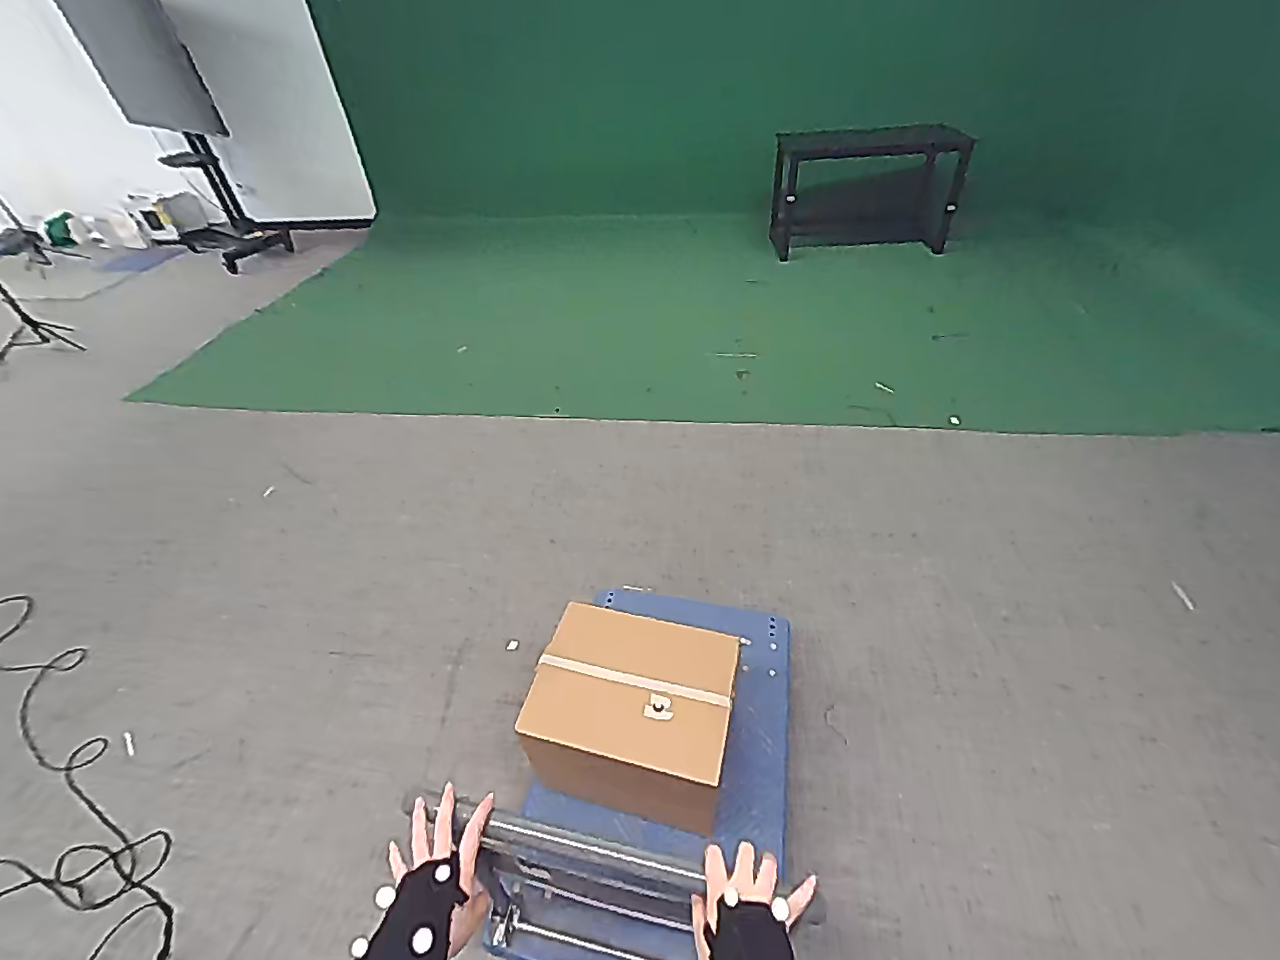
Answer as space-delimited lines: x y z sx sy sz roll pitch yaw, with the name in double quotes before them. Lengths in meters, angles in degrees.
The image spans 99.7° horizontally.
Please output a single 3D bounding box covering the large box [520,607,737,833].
"large box" -0.010 0.539 1.233 0.408 0.320 0.320 9 43 12
